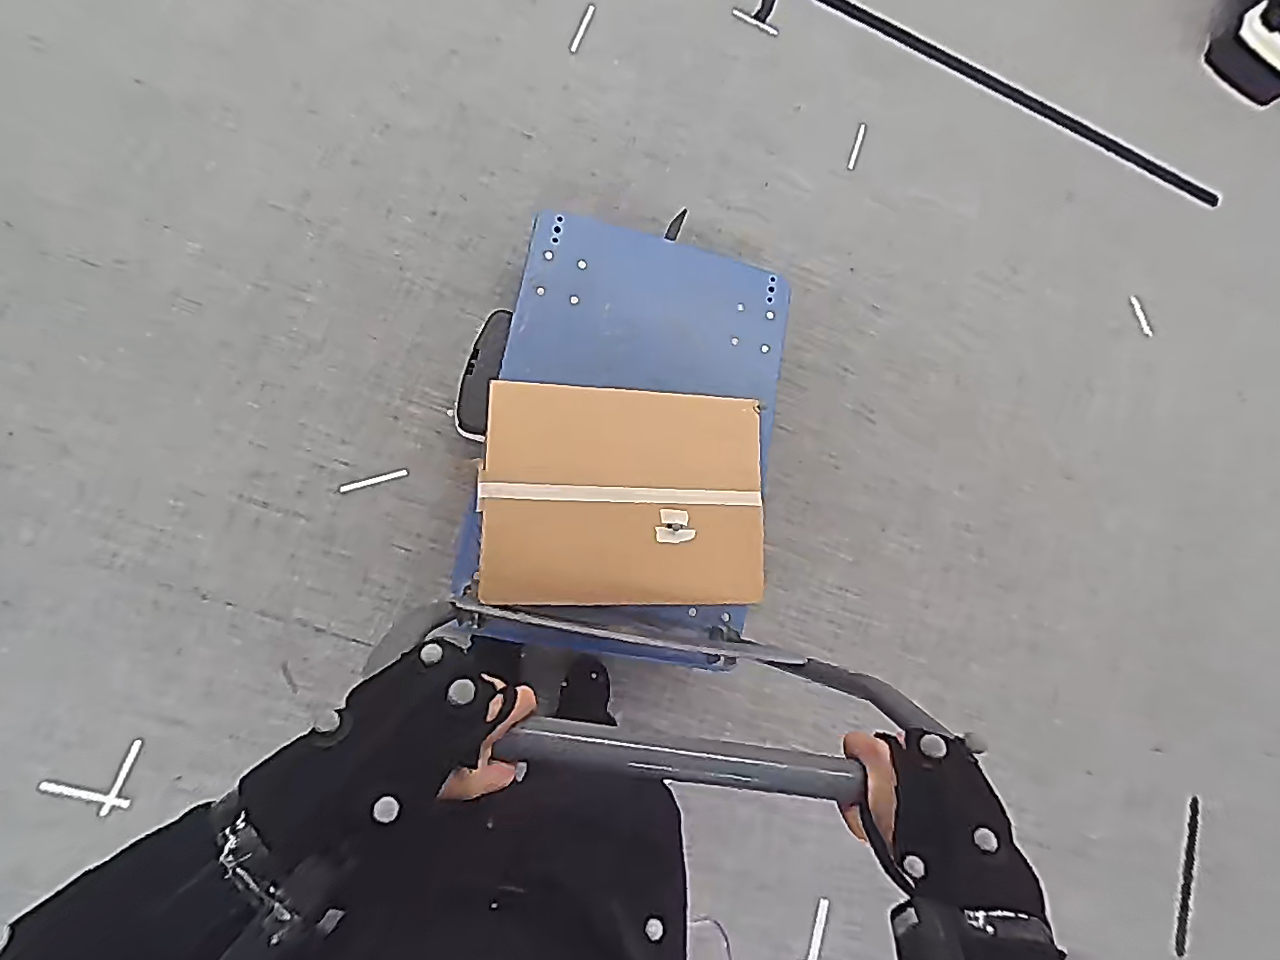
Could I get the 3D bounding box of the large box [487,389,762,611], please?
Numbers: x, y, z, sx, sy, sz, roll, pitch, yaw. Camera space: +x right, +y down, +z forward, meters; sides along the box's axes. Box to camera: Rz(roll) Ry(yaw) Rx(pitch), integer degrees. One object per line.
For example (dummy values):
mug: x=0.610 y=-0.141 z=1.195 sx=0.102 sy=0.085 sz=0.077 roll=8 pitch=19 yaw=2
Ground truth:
large box: x=-0.044 y=0.052 z=0.928 sx=0.408 sy=0.320 sz=0.320 roll=3 pitch=81 yaw=-12
